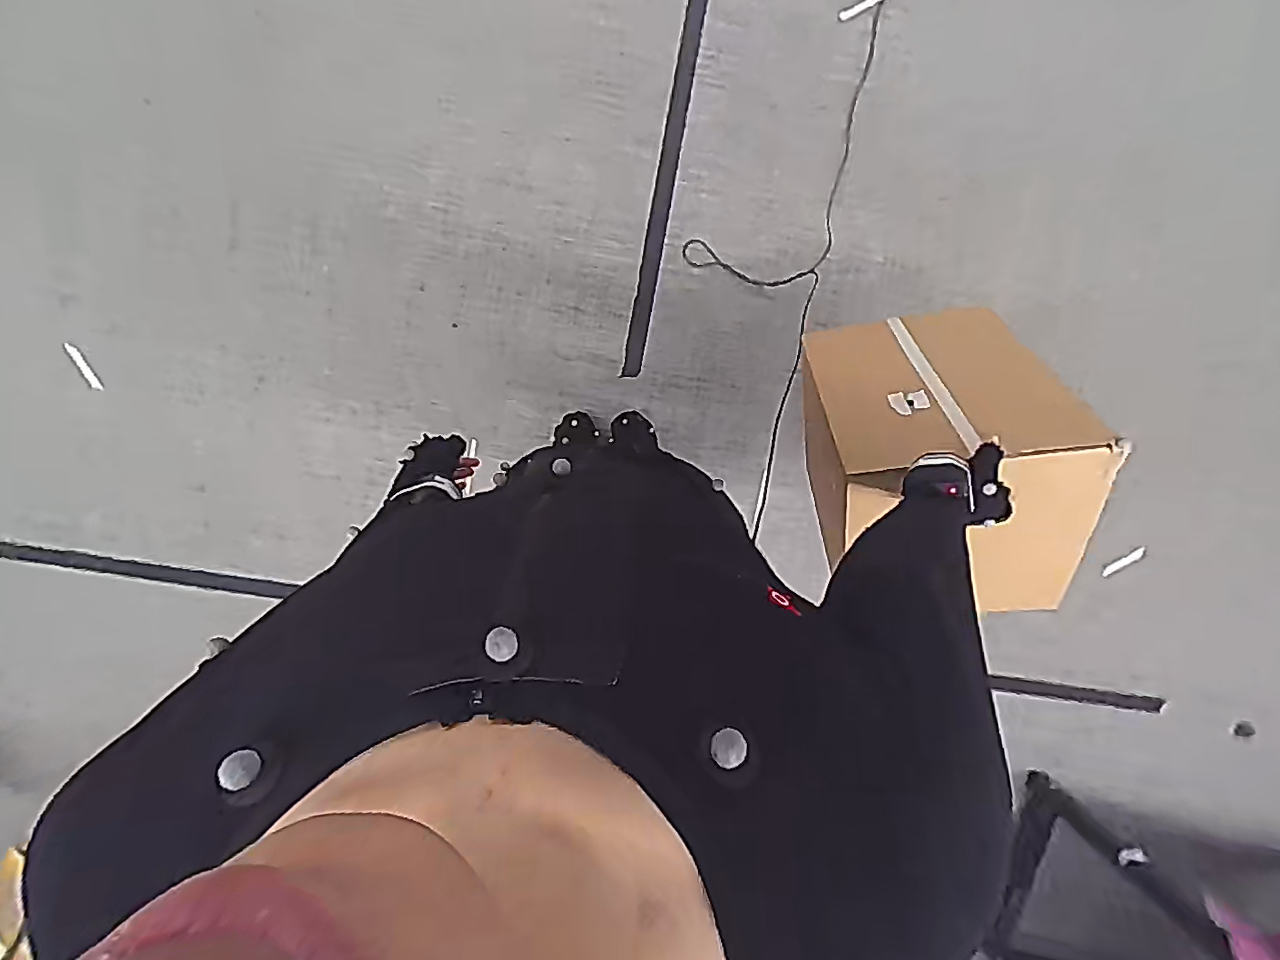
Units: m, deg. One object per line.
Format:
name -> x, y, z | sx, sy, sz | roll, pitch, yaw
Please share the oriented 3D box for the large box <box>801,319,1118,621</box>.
large box -> 0.464, -0.024, 0.915 | 0.320, 0.408, 0.320 | -7, 130, 11
